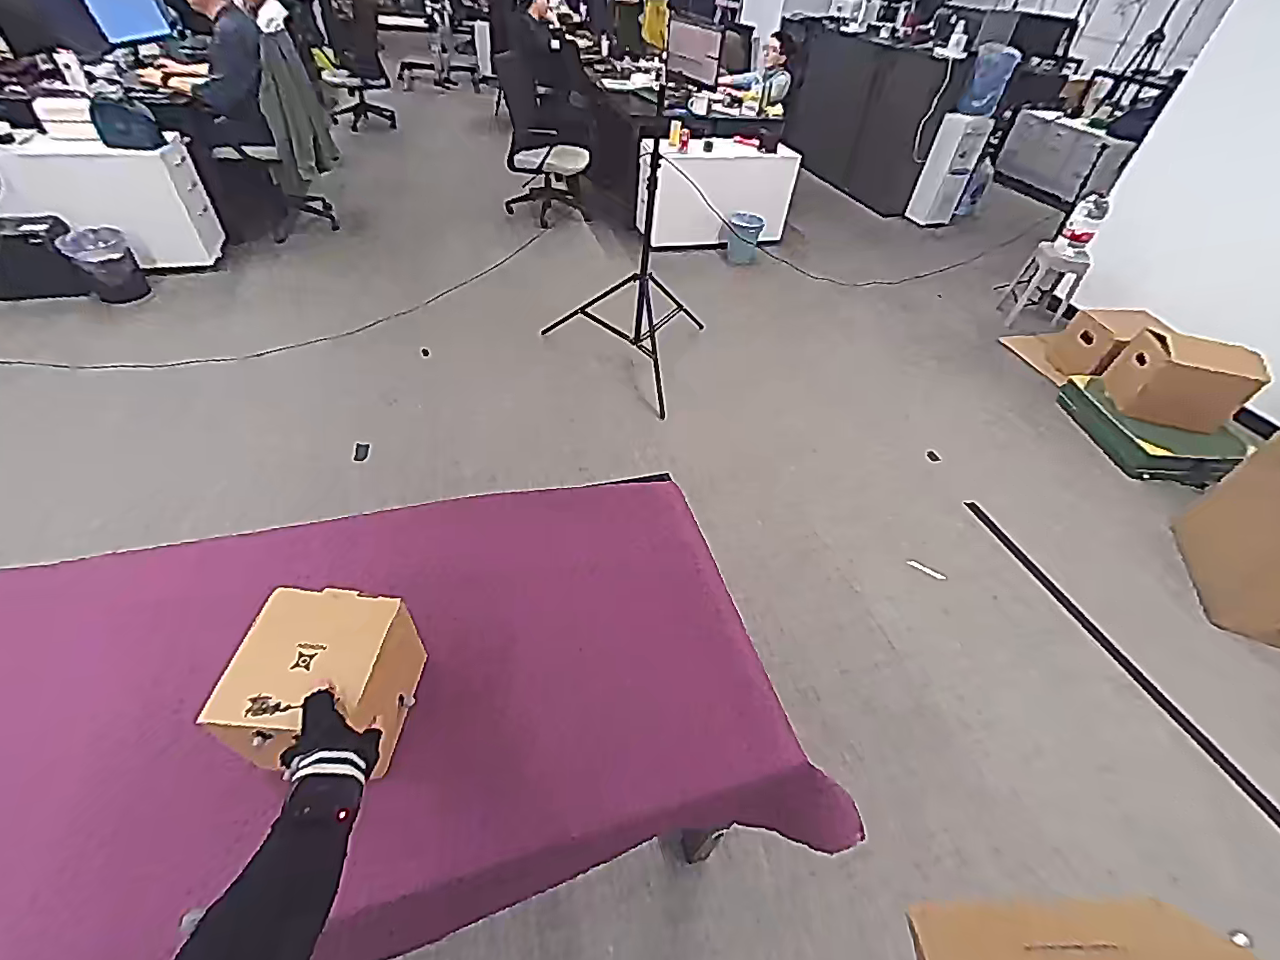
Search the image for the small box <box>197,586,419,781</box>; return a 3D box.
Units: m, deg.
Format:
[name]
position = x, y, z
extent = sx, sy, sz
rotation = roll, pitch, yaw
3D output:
[small box]
position = -0.404, 0.264, 0.701
extent = 0.168, 0.176, 0.179
rotation = 6, 46, -1
